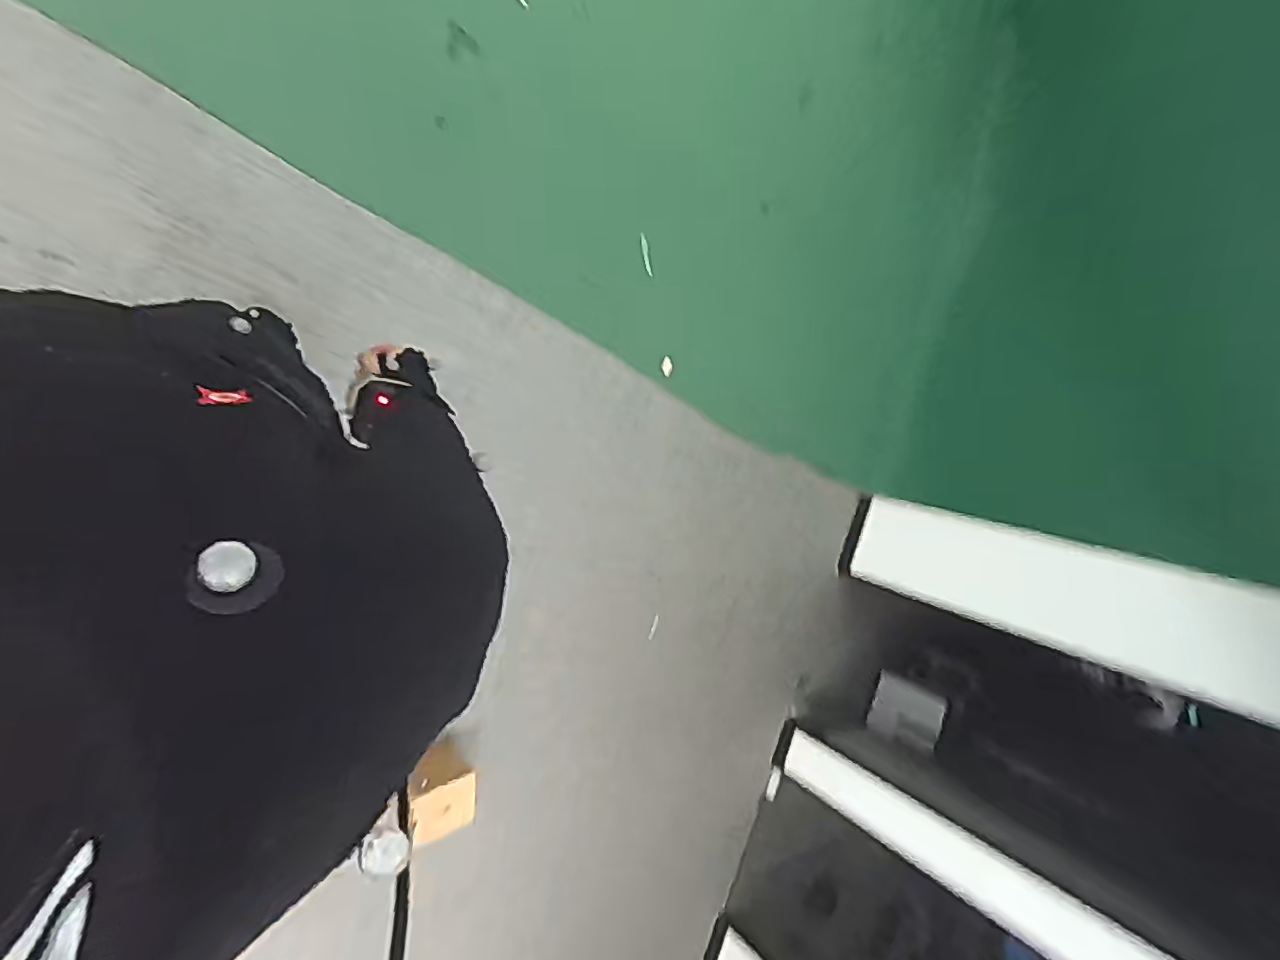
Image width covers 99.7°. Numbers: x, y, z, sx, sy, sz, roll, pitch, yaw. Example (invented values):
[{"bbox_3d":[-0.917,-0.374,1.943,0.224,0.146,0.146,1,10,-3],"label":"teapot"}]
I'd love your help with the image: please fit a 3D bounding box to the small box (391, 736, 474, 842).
[{"bbox_3d":[-0.601,0.882,1.565,0.179,0.176,0.168,-6,107,-41],"label":"small box"}]
